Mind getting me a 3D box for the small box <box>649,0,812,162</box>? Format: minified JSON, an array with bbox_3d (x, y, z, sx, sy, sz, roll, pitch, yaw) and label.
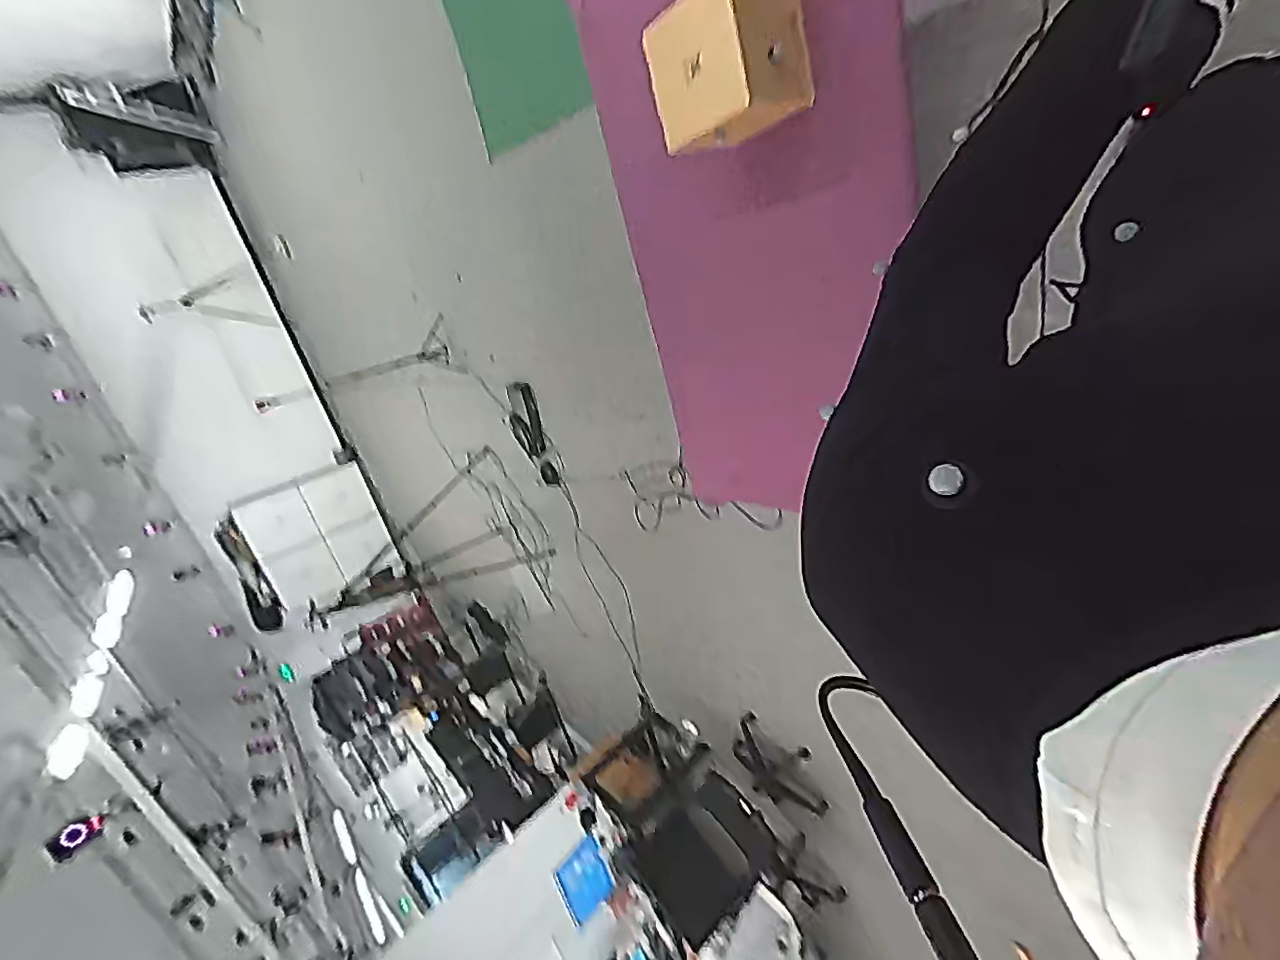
[{"bbox_3d":[0.148,-0.626,0.845,0.179,0.176,0.168,8,121,53],"label":"small box"}]
